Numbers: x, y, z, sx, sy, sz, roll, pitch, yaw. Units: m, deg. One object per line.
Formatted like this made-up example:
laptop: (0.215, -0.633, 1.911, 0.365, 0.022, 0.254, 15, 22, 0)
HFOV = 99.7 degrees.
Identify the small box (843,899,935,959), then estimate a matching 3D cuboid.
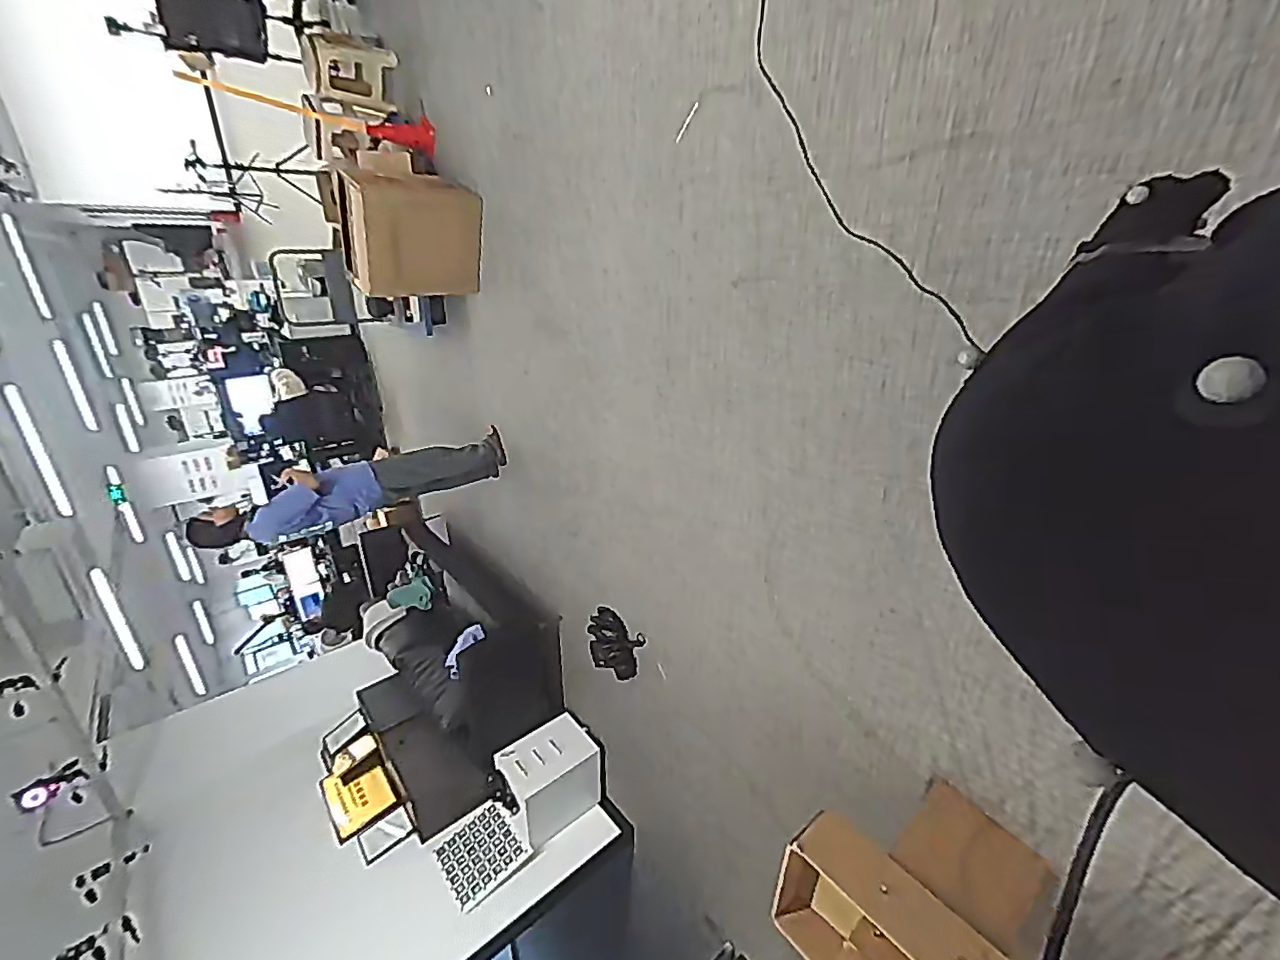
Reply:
small box: (0.643, 1.260, 1.411, 0.168, 0.176, 0.179, 26, 126, 45)
